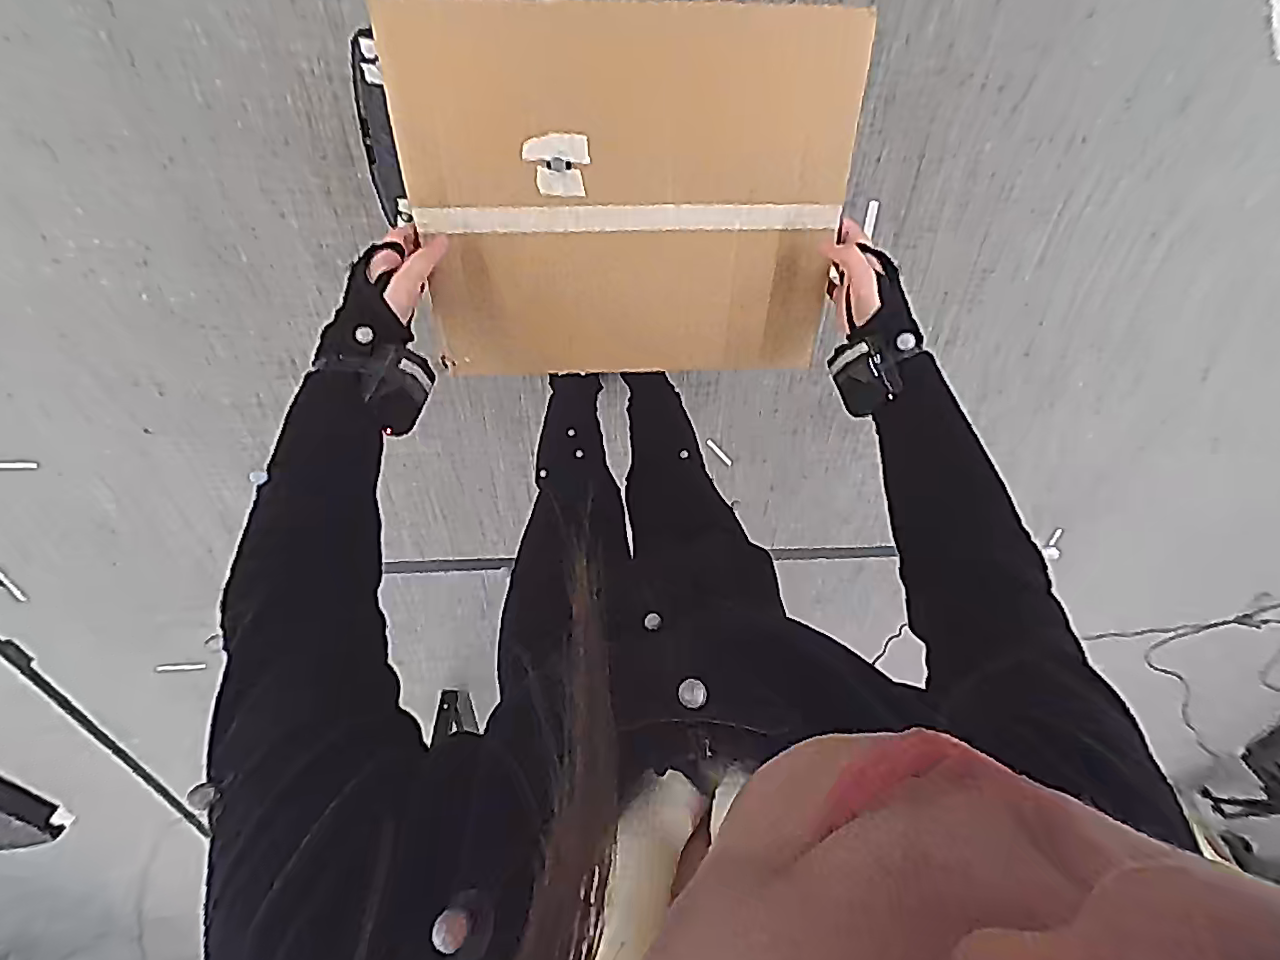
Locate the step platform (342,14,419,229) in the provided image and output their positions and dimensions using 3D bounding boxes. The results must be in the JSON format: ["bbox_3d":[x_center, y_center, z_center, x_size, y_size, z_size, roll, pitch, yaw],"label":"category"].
[{"bbox_3d":[-0.123,-0.563,0.931,0.684,0.204,0.286,4,125,-8],"label":"step platform"}]

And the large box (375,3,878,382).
[{"bbox_3d":[-0.013,-0.324,0.626,0.408,0.320,0.320,-2,124,-3],"label":"large box"}]
